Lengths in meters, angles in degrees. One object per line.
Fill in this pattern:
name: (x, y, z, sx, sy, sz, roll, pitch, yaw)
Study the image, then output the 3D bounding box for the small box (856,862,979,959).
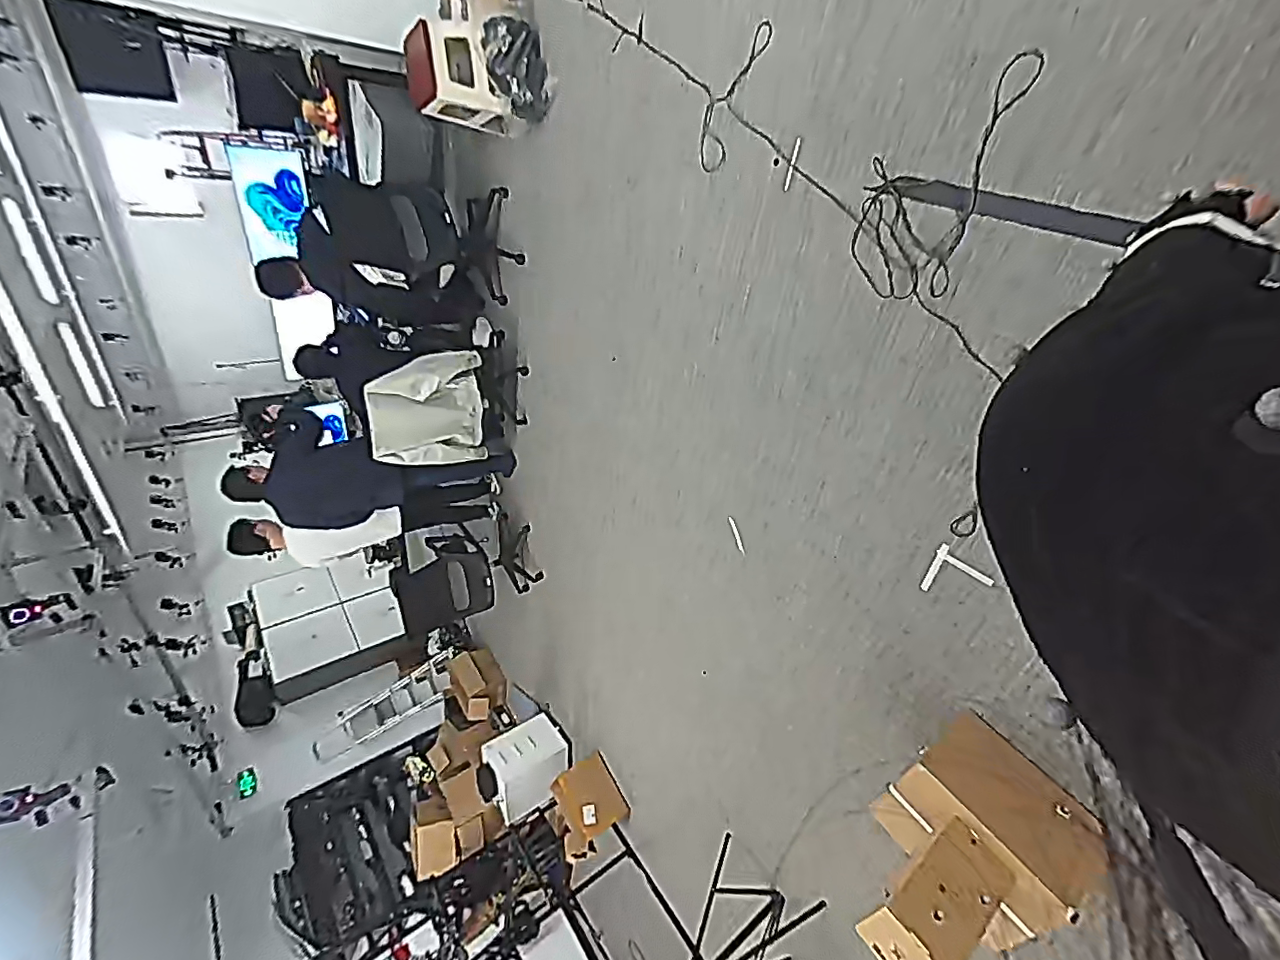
small box: (0.644, 1.035, 1.250, 0.168, 0.176, 0.179, 45, 136, 35)
